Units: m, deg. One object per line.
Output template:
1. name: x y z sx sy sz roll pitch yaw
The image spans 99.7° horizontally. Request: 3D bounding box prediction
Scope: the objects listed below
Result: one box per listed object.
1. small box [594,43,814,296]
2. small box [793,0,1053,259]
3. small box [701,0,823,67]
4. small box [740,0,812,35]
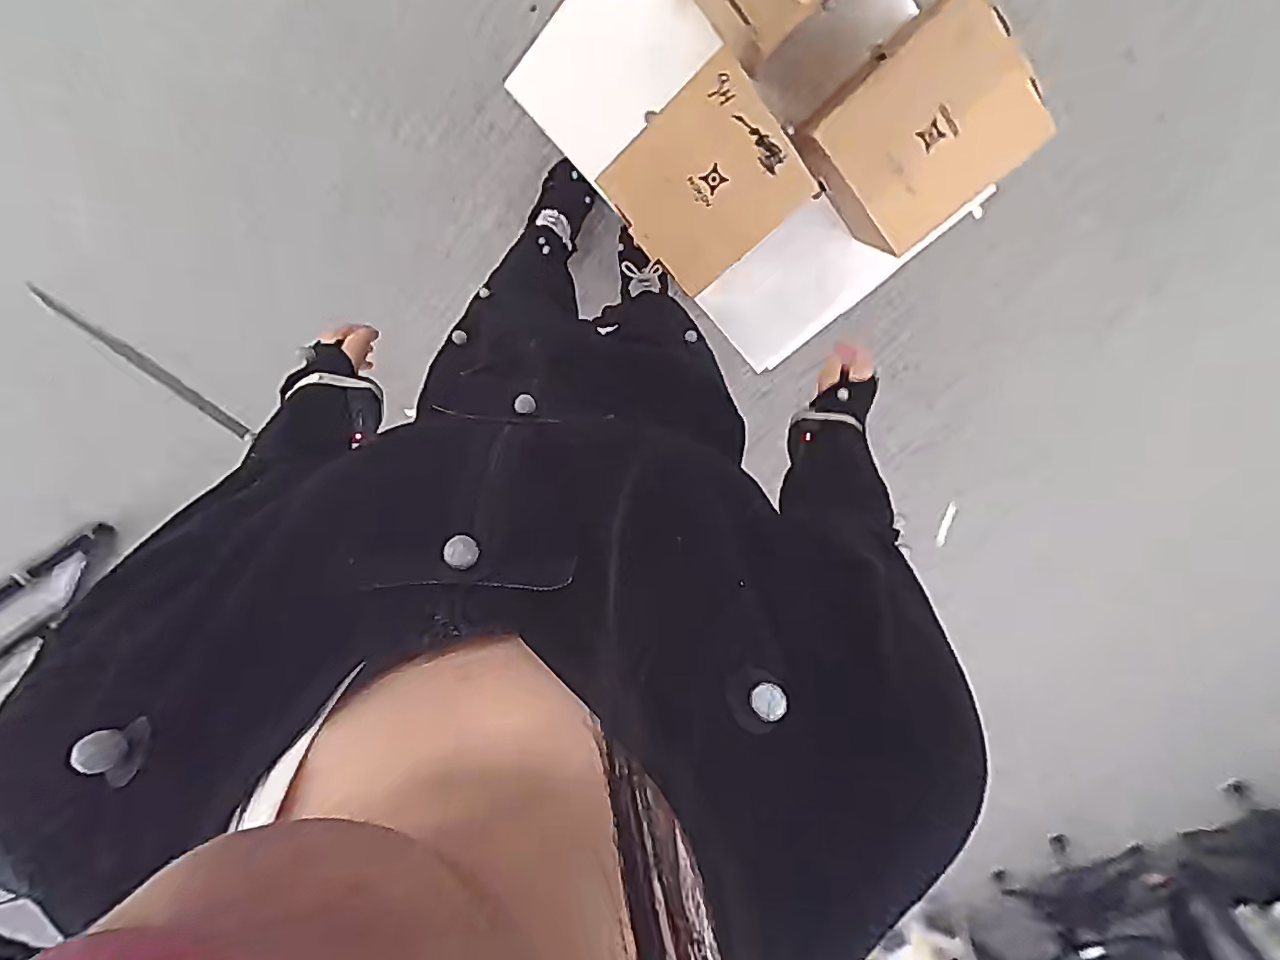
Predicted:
1. small box: 0.072 -0.351 0.634 0.179 0.176 0.168 -36 113 21
2. small box: 0.296 -0.384 0.606 0.179 0.176 0.168 -38 110 24
3. small box: 0.133 -0.544 0.518 0.179 0.176 0.168 -37 113 21
4. small box: 0.120 -0.465 0.376 0.179 0.176 0.168 -40 112 23
